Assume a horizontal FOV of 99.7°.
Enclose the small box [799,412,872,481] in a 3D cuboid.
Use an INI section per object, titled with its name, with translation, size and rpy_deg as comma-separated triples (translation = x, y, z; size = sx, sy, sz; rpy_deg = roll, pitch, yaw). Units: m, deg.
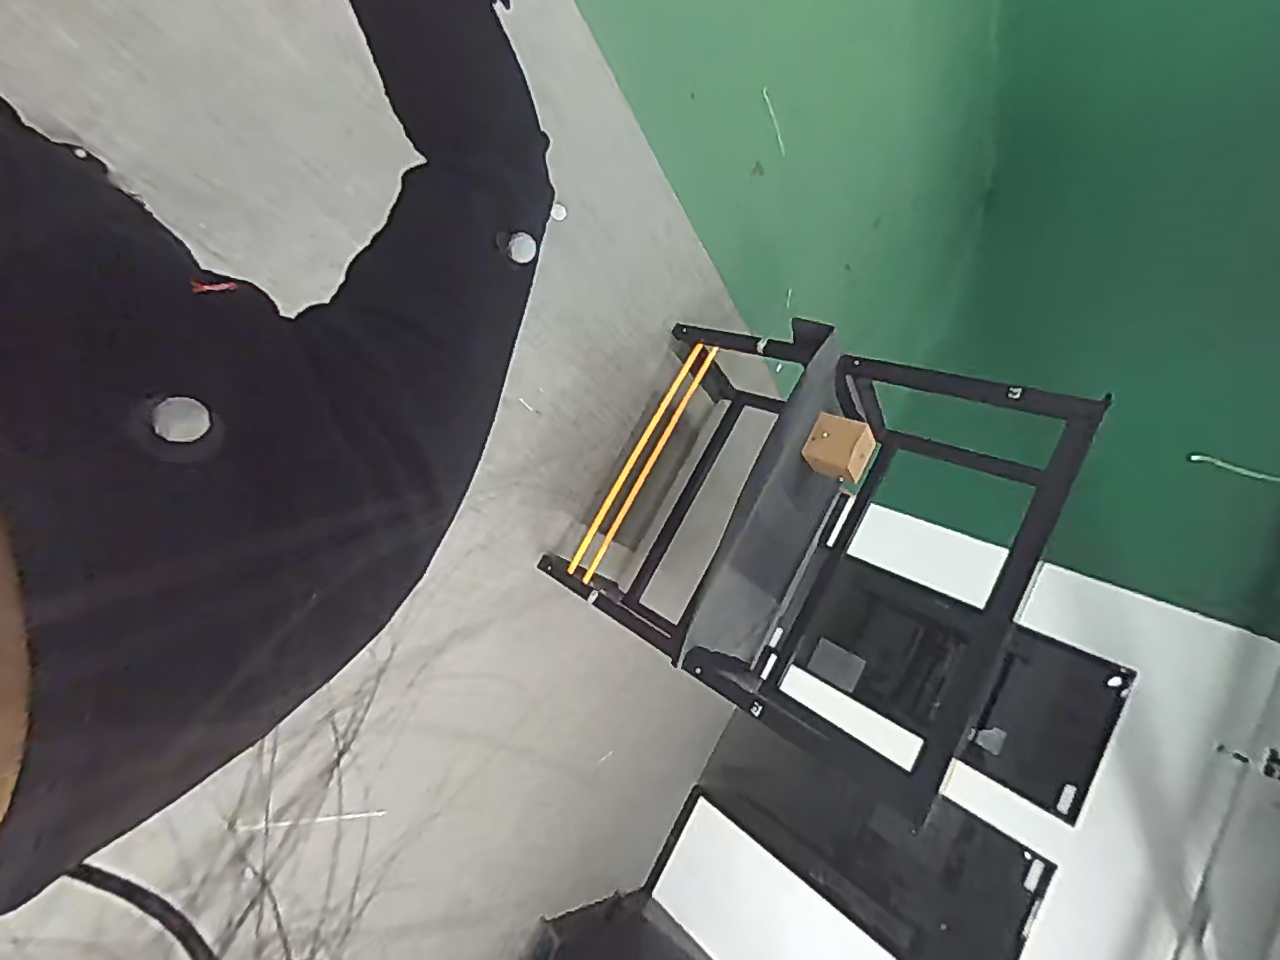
[small box]
translation = 0.684, -0.121, 1.893
size = 0.179, 0.176, 0.168
rpy_deg = 35, 81, -52
